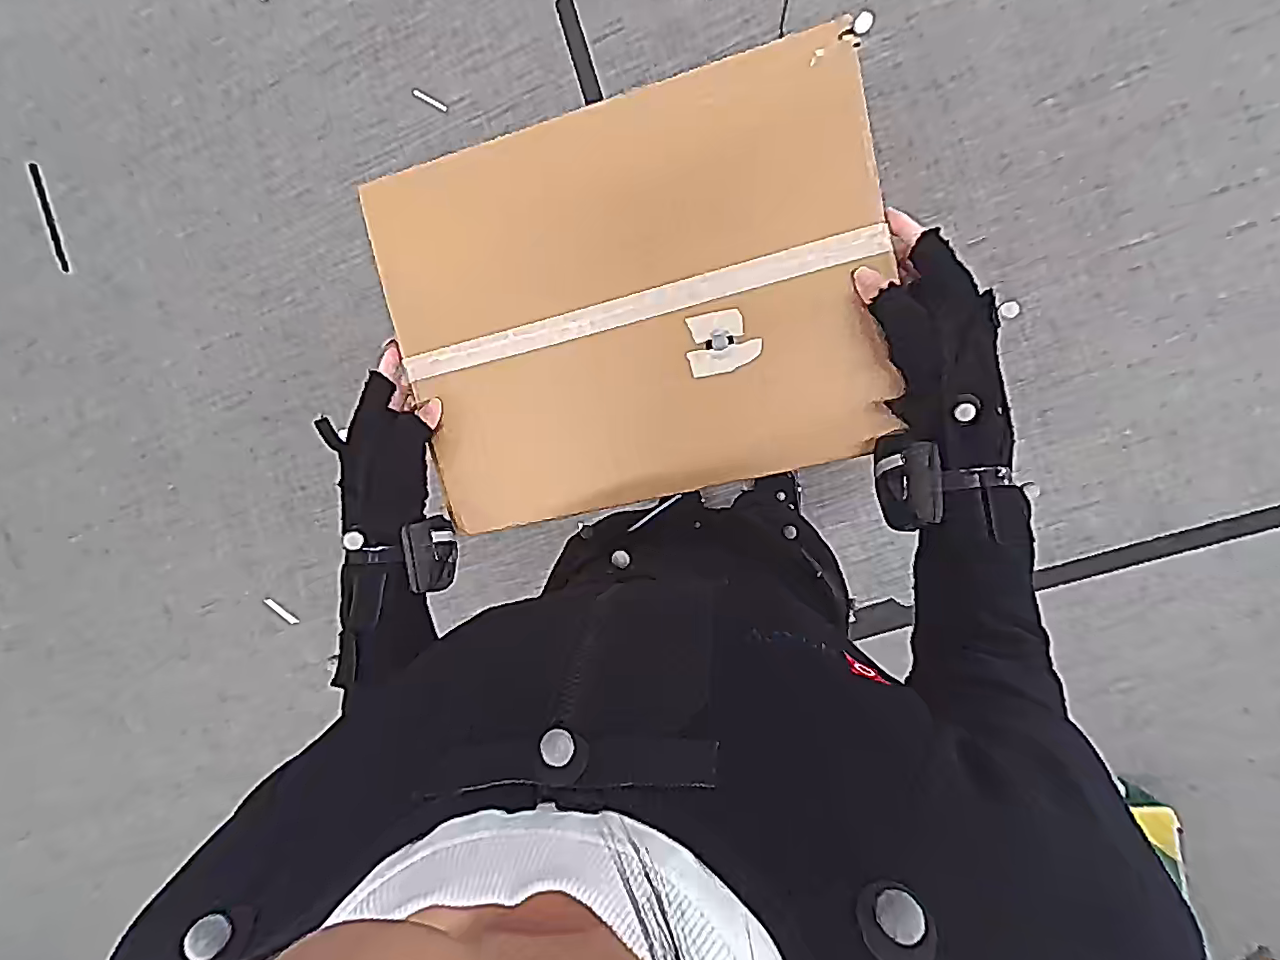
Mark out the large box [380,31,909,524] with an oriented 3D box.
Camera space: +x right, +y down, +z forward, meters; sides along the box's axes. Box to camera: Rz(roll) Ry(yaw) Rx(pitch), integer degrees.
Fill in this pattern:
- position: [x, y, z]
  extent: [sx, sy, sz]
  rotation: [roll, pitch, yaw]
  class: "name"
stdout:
- position: [0.015, -0.167, 0.600]
  extent: [0.408, 0.320, 0.320]
  rotation: [-12, 97, 10]
  class: "large box"
